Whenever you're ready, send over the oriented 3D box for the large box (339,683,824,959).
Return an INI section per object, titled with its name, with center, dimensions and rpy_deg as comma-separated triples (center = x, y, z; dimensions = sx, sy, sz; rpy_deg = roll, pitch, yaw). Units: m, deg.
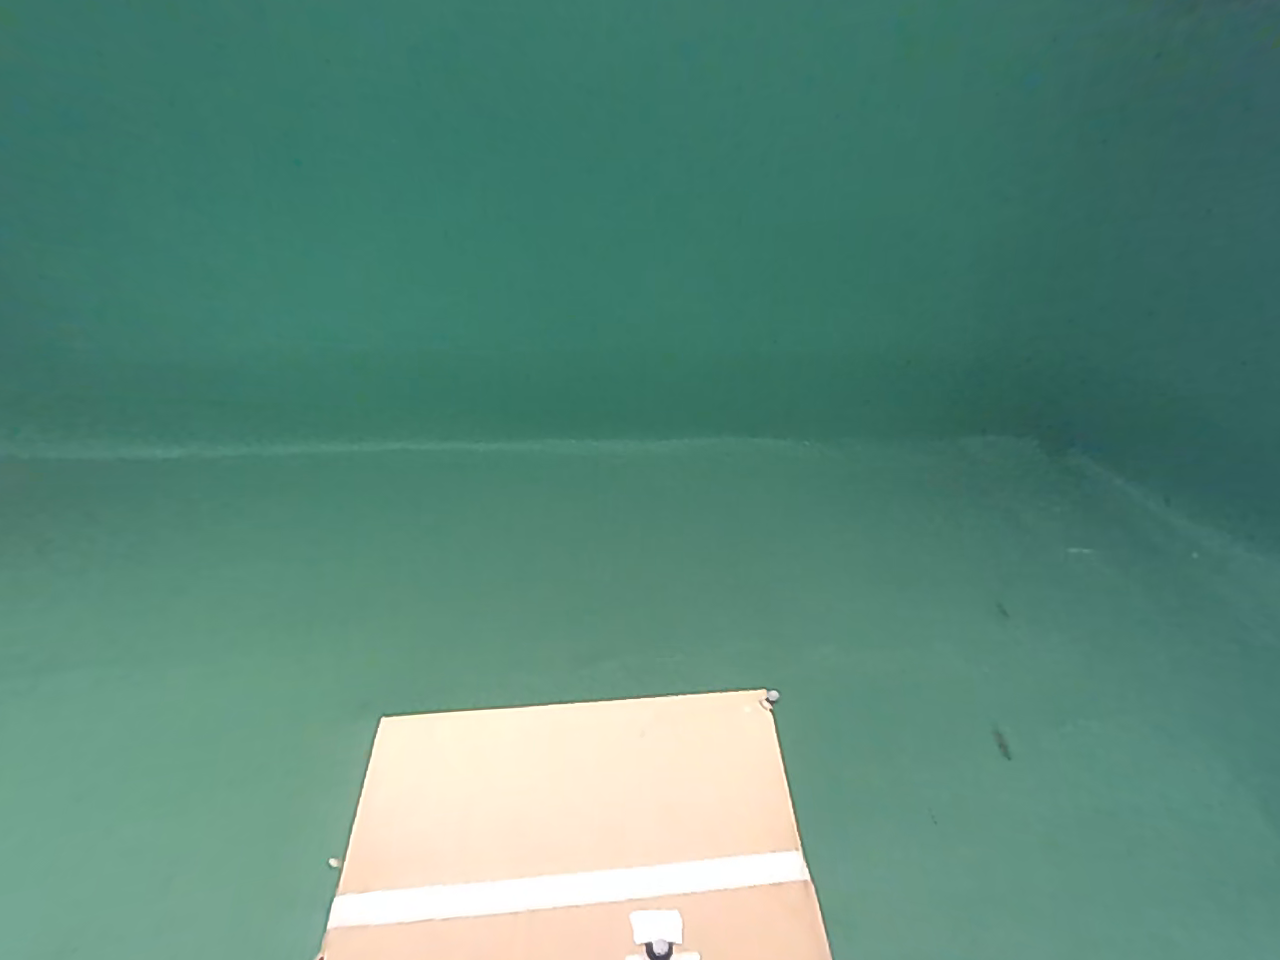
[large box]
center = -0.056, 0.448, 0.591
dimensions = 0.408, 0.320, 0.320
rpy_deg = -3, 50, -4
